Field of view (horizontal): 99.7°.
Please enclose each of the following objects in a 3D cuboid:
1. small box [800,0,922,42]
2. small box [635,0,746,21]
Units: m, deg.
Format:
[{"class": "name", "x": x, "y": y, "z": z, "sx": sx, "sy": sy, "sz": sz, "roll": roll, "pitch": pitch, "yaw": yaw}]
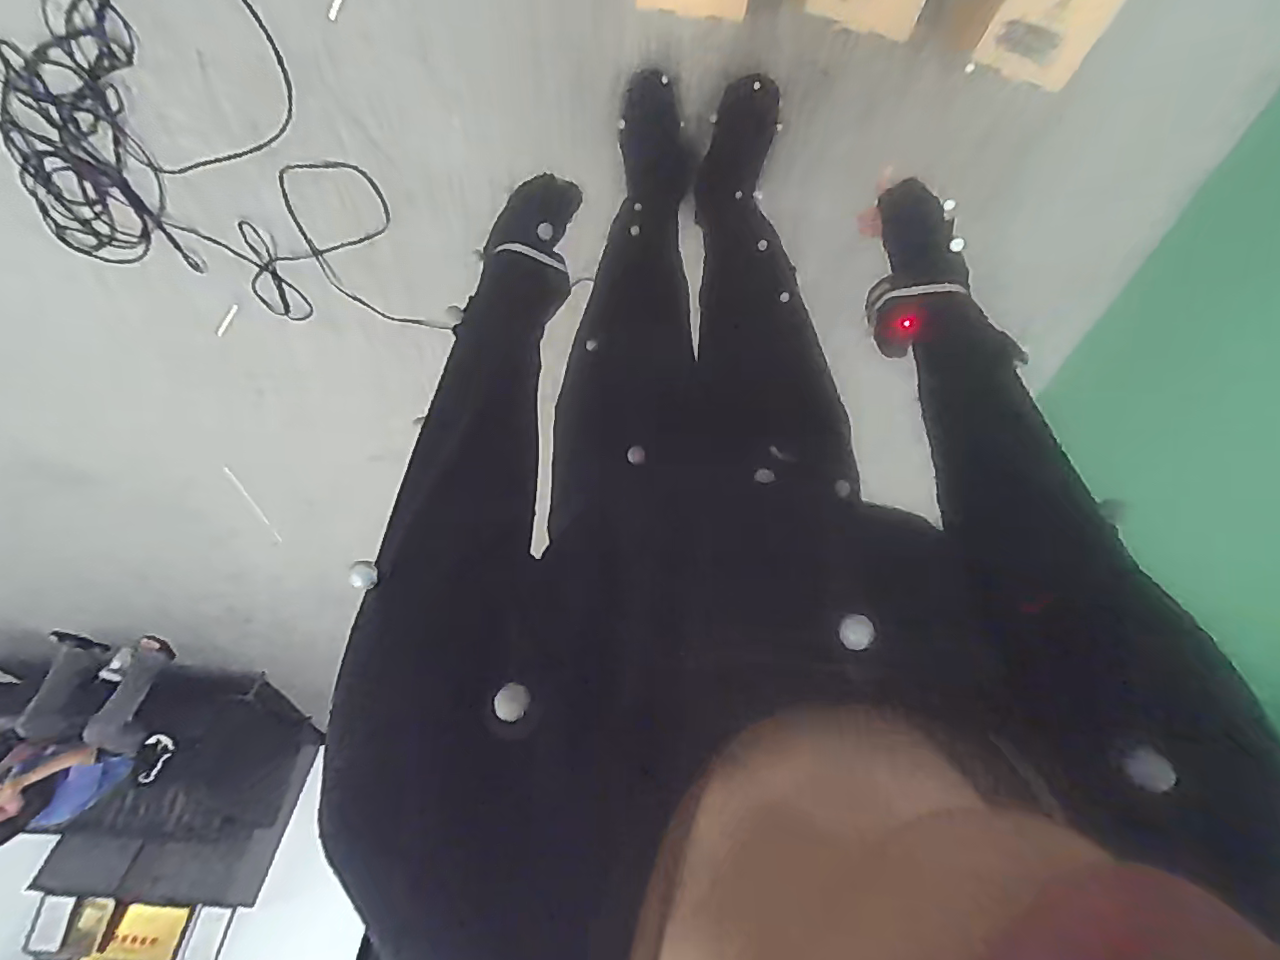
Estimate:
[{"class": "small box", "x": 0.341, "y": -0.791, "z": 0.796, "sx": 0.168, "sy": 0.176, "sz": 0.179, "roll": 12, "pitch": 138, "yaw": -7}, {"class": "small box", "x": 0.085, "y": -0.813, "z": 0.798, "sx": 0.168, "sy": 0.176, "sz": 0.179, "roll": 6, "pitch": 138, "yaw": -1}]
